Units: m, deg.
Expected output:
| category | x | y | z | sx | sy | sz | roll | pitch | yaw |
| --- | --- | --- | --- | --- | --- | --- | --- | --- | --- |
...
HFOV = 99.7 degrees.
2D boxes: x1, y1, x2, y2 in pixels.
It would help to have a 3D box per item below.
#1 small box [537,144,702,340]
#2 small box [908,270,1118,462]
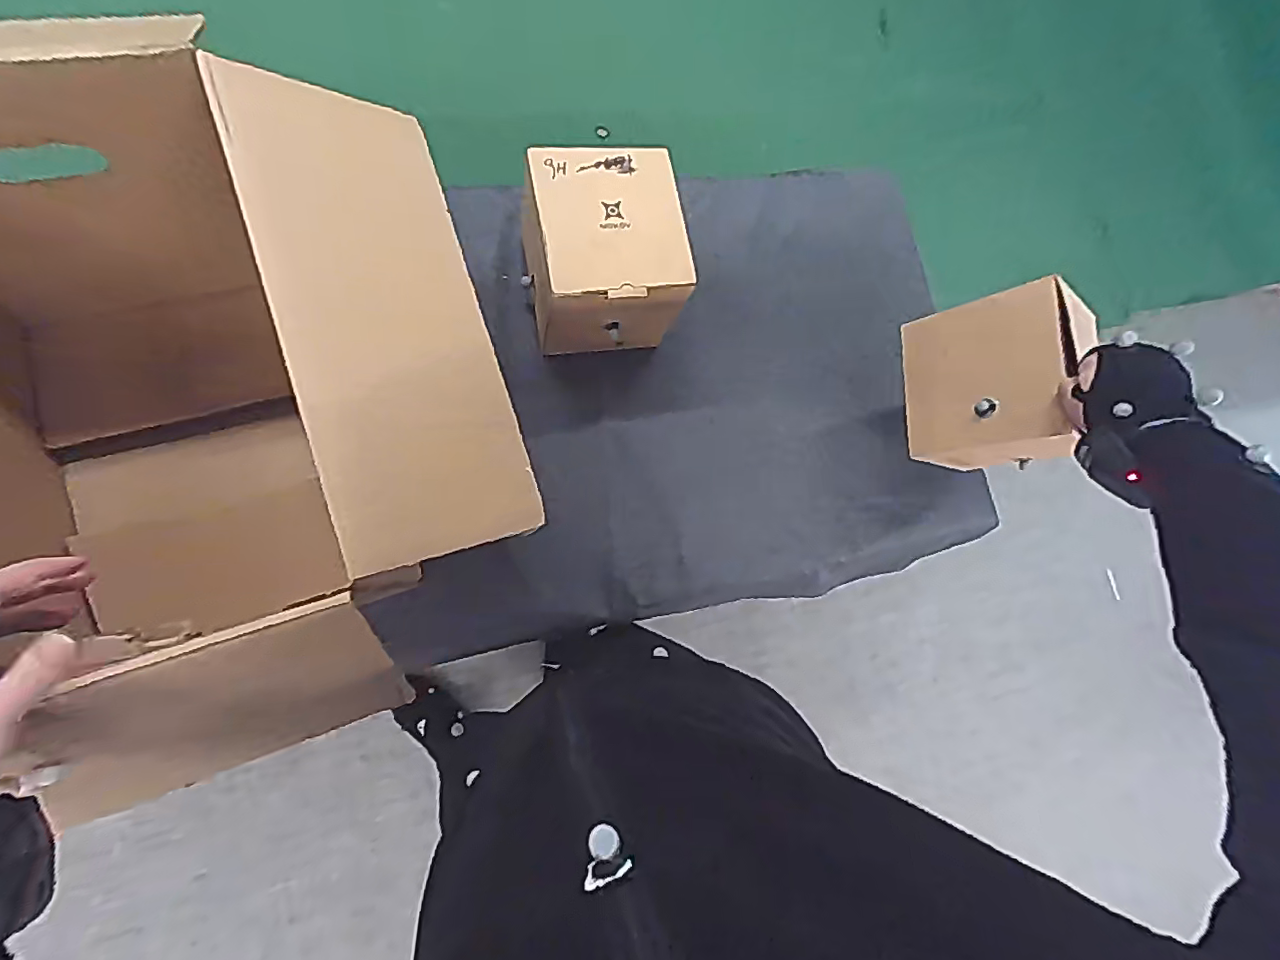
| category | x | y | z | sx | sy | sz | roll | pitch | yaw |
| --- | --- | --- | --- | --- | --- | --- | --- | --- | --- |
| small box | -0.036 | -0.287 | 0.686 | 0.168 | 0.176 | 0.179 | -8 | 84 | -15 |
| small box | 0.458 | -0.123 | 0.675 | 0.168 | 0.176 | 0.179 | 6 | 79 | -38 |
